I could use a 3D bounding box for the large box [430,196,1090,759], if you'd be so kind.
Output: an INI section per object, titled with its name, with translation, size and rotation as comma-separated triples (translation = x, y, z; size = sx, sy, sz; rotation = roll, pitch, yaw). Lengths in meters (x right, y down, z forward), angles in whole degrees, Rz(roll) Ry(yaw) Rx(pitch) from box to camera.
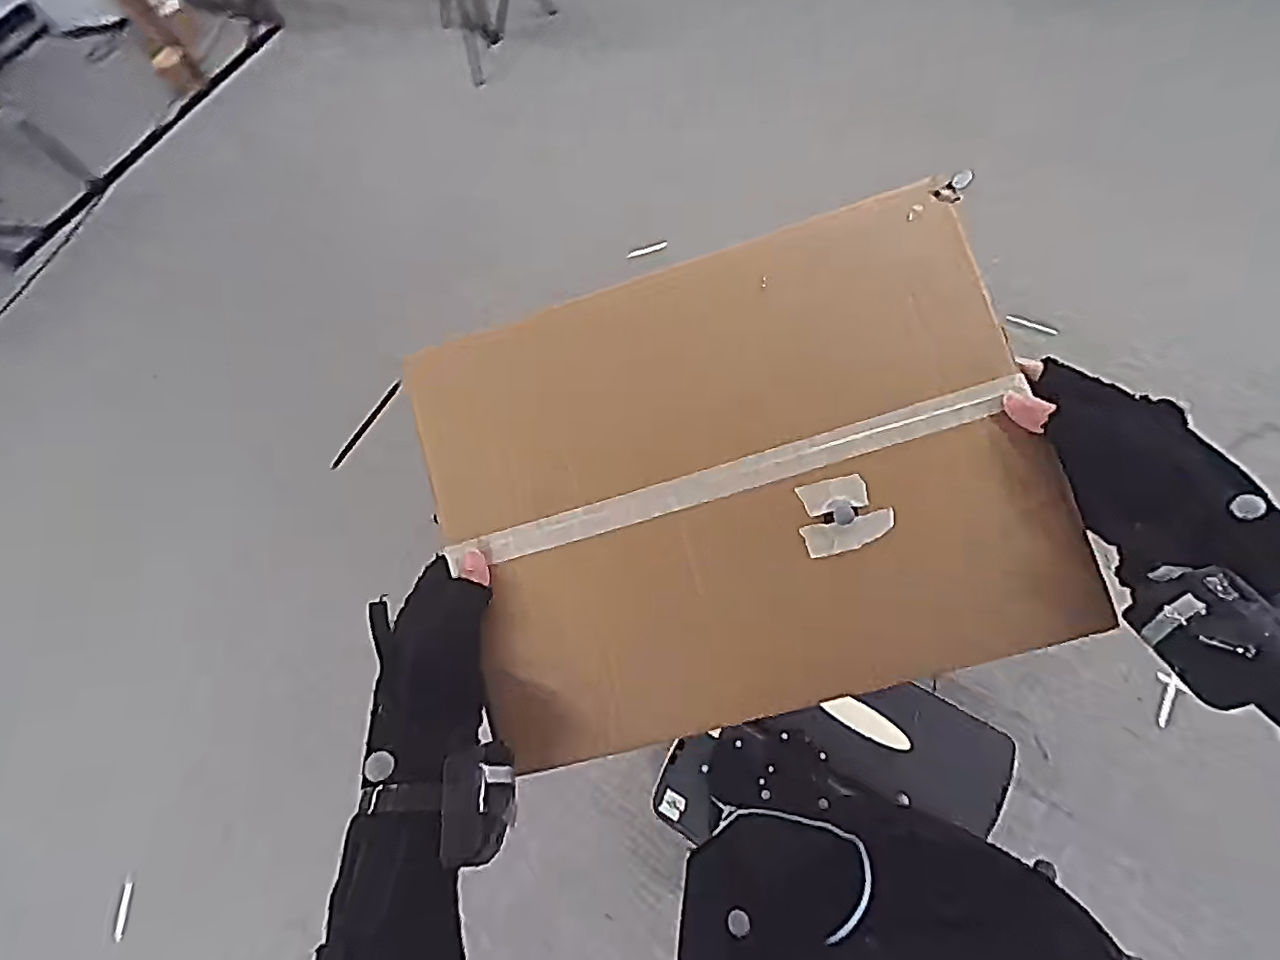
[large box]
translation = 0.081, 0.013, 0.532
size = 0.408, 0.320, 0.320
rotation = -17, 84, 6
